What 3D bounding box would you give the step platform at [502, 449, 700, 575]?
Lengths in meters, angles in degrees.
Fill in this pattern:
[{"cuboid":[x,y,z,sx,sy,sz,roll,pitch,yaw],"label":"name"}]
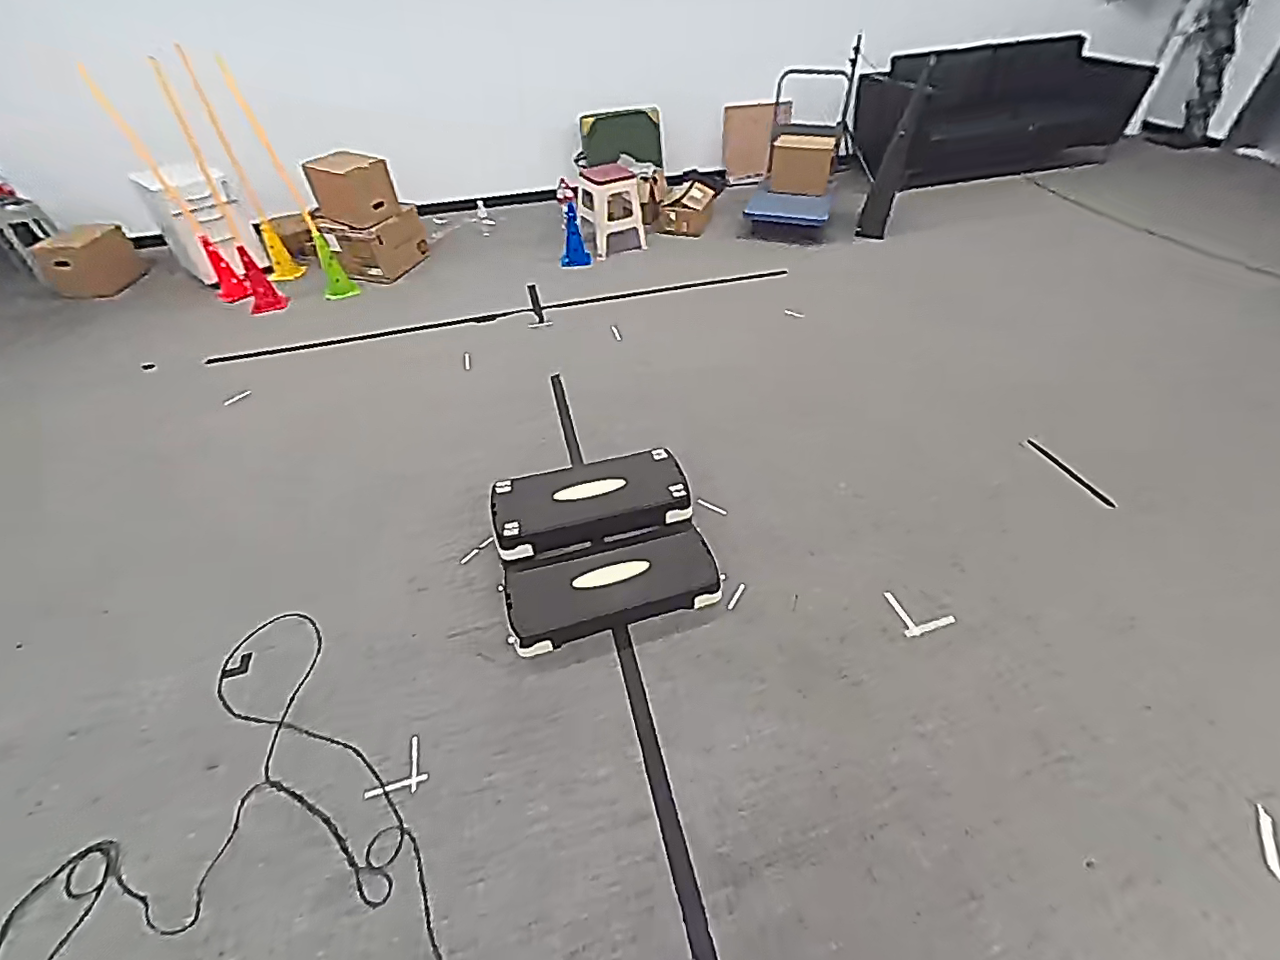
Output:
[{"cuboid":[-0.136,0.099,1.913,0.684,0.204,0.286,-12,45,-12],"label":"step platform"}]
